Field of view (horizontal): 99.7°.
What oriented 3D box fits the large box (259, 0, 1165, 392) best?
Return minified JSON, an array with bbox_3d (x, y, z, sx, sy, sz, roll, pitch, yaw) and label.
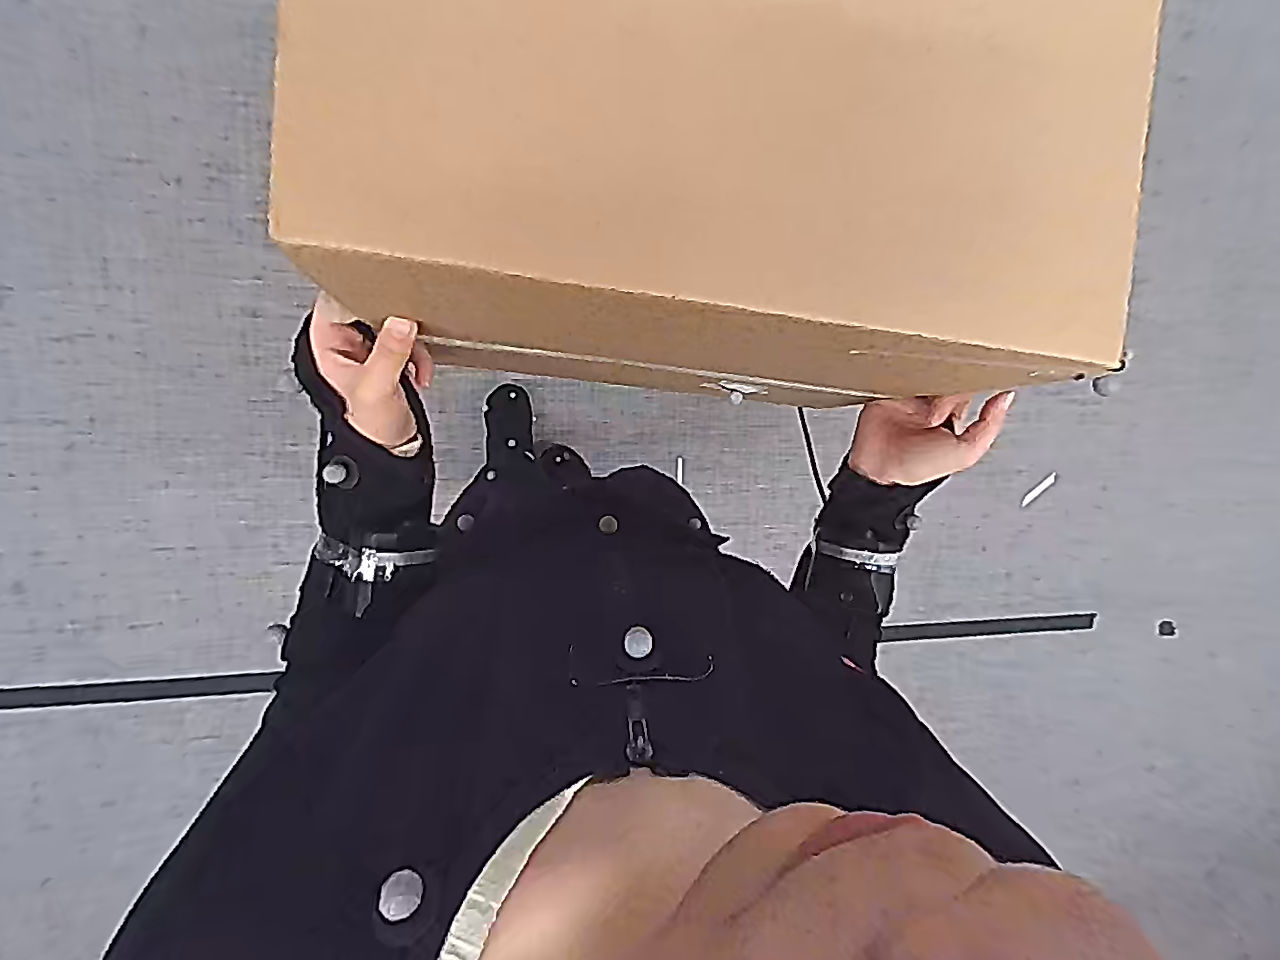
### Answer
[{"bbox_3d":[0.035,-0.245,0.371,0.408,0.320,0.320,4,95,-12],"label":"large box"}]
